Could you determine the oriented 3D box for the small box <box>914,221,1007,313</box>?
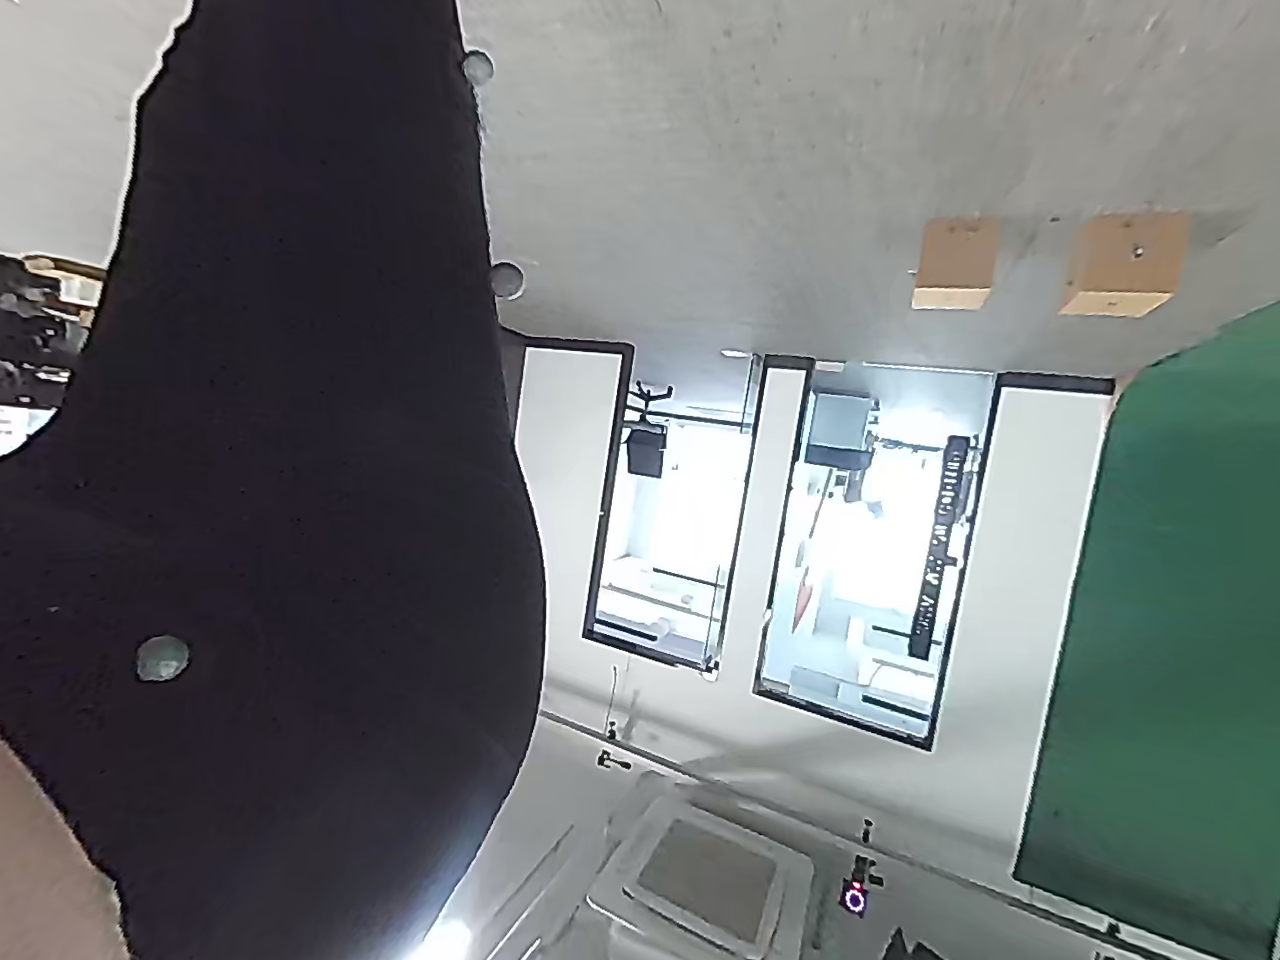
[{"bbox_3d":[0.793,-0.527,1.347,0.168,0.176,0.179,10,-176,24],"label":"small box"}]

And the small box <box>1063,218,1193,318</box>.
[{"bbox_3d":[1.087,-0.472,1.211,0.168,0.176,0.179,11,-175,24],"label":"small box"}]
